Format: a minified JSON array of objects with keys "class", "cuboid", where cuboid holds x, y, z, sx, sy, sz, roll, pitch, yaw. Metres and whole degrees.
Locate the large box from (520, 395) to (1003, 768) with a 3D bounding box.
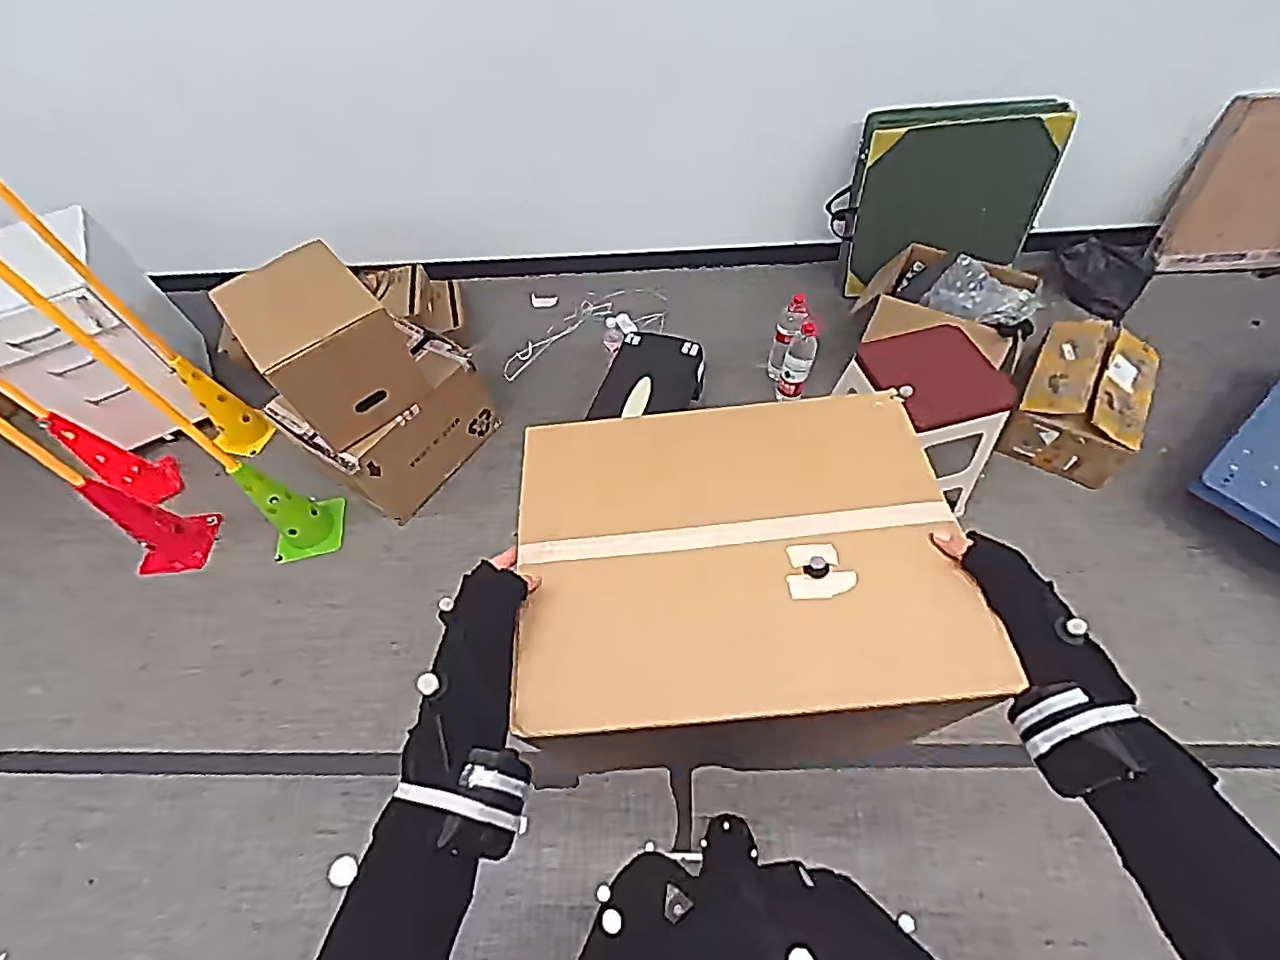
[{"class":"large box","cuboid":[0.096,0.136,0.642,0.408,0.320,0.320,-6,57,2]}]
